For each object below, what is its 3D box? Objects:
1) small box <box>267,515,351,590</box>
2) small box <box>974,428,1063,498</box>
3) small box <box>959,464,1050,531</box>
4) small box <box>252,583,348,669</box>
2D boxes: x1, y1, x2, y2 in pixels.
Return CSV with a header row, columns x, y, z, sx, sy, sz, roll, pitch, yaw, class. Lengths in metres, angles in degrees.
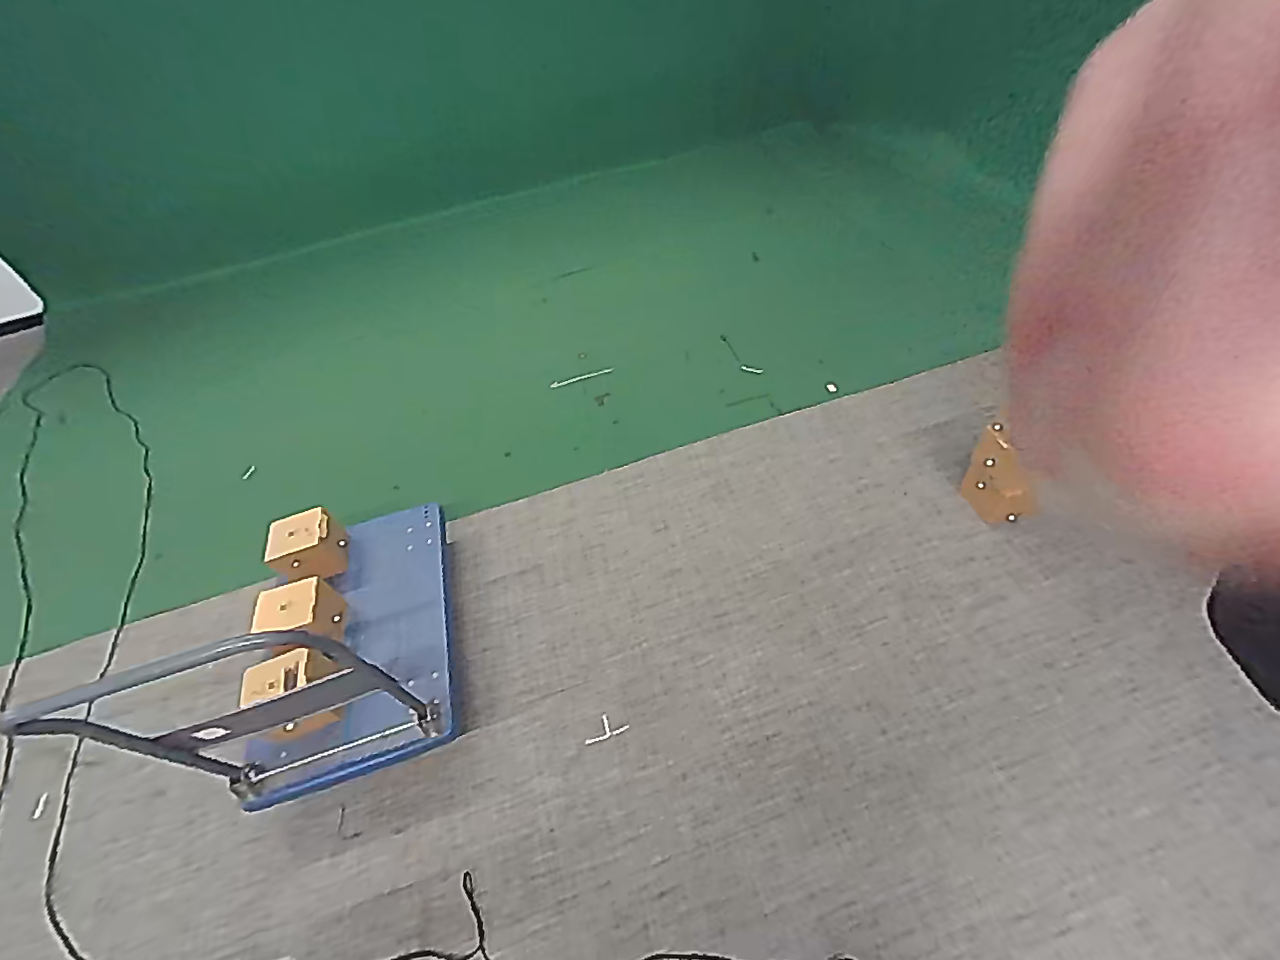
x,y,z,sx,sy,sz,roll,pitch,yaw,class
-1.108,0.251,1.823,0.179,0.176,0.168,-18,50,-6,small box
1.204,-0.067,1.725,0.179,0.176,0.168,-15,48,-2,small box
1.231,0.044,1.843,0.168,0.176,0.179,-14,48,-2,small box
-1.022,0.446,1.641,0.179,0.176,0.168,-16,48,-6,small box
